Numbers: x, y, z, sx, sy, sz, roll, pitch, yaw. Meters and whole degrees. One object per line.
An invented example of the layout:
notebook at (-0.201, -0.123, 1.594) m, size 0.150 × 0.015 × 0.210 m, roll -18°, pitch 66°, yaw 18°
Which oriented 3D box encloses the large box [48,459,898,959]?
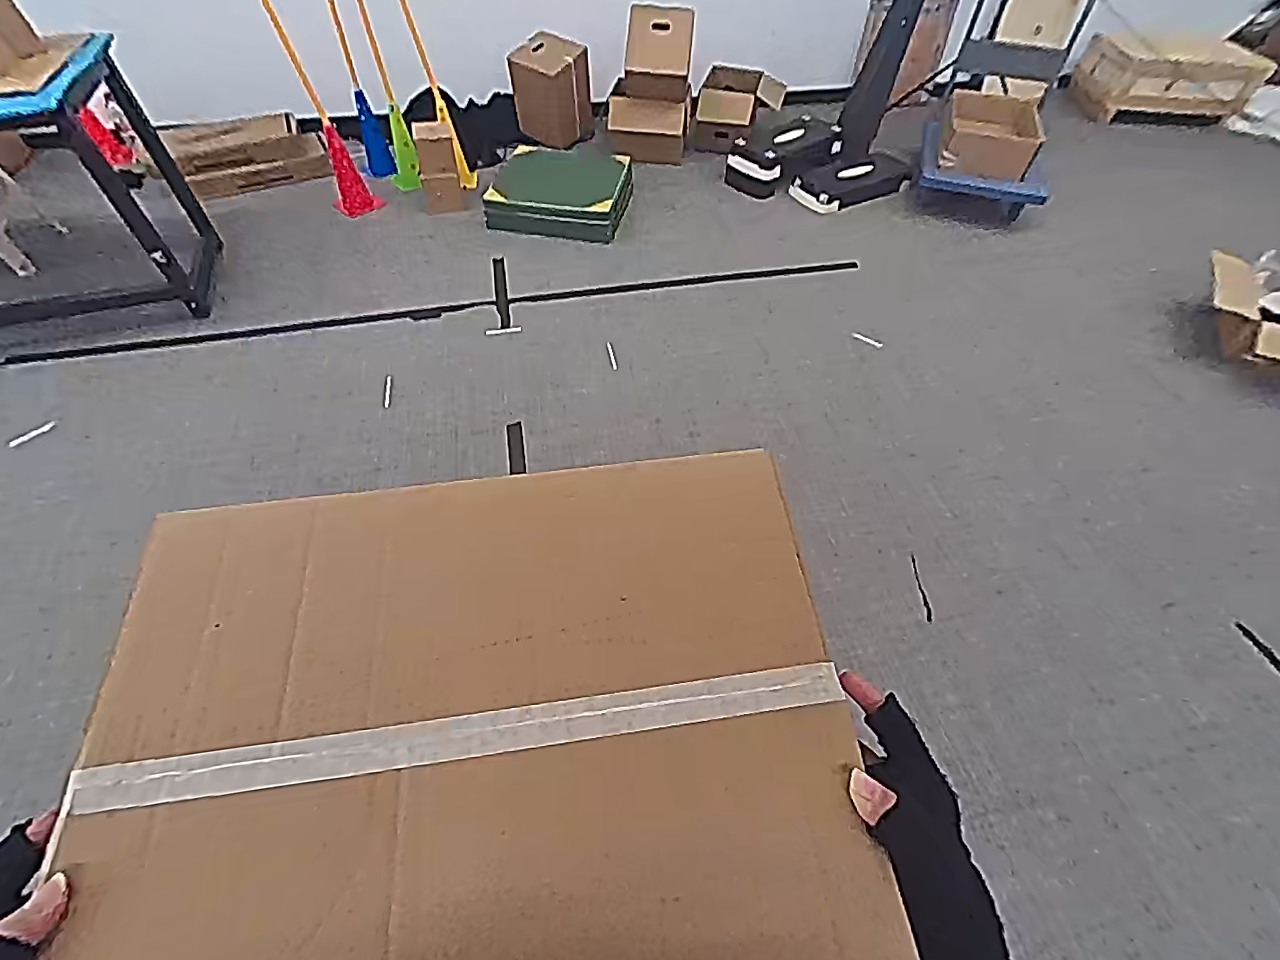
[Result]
large box at (-0.091, 0.210, 0.435) m, size 0.408 × 0.320 × 0.320 m, roll -6°, pitch 61°, yaw -4°
